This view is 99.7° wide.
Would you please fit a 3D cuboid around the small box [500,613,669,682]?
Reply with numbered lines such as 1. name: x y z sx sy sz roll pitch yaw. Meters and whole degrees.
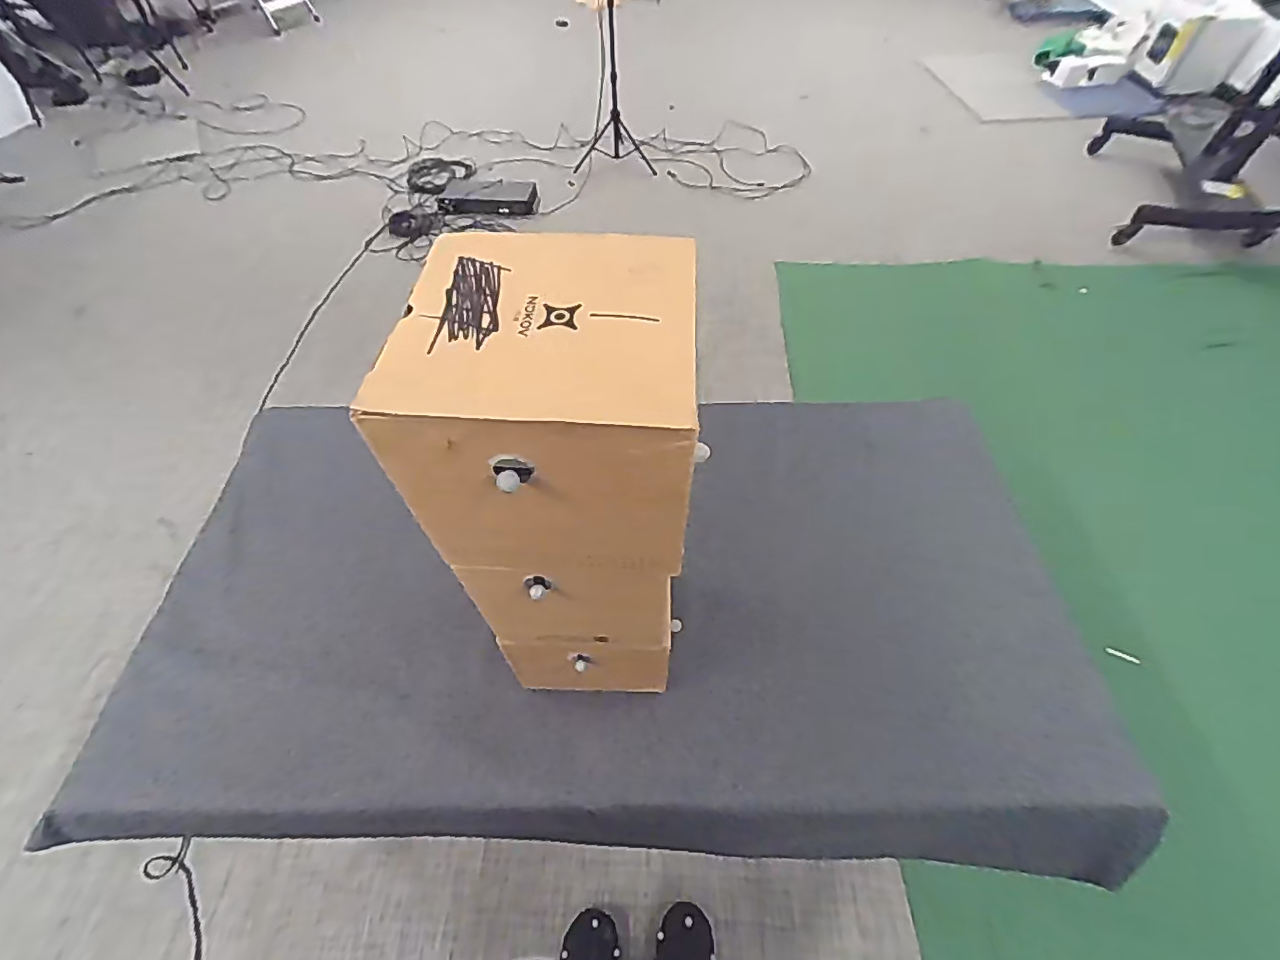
1. small box: -0.053 0.138 0.656 0.179 0.176 0.168 1 55 1

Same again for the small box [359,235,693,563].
1. small box: -0.055 -0.051 0.388 0.179 0.176 0.168 3 55 2

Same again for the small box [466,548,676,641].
1. small box: -0.053 0.042 0.527 0.168 0.176 0.179 0 55 0
